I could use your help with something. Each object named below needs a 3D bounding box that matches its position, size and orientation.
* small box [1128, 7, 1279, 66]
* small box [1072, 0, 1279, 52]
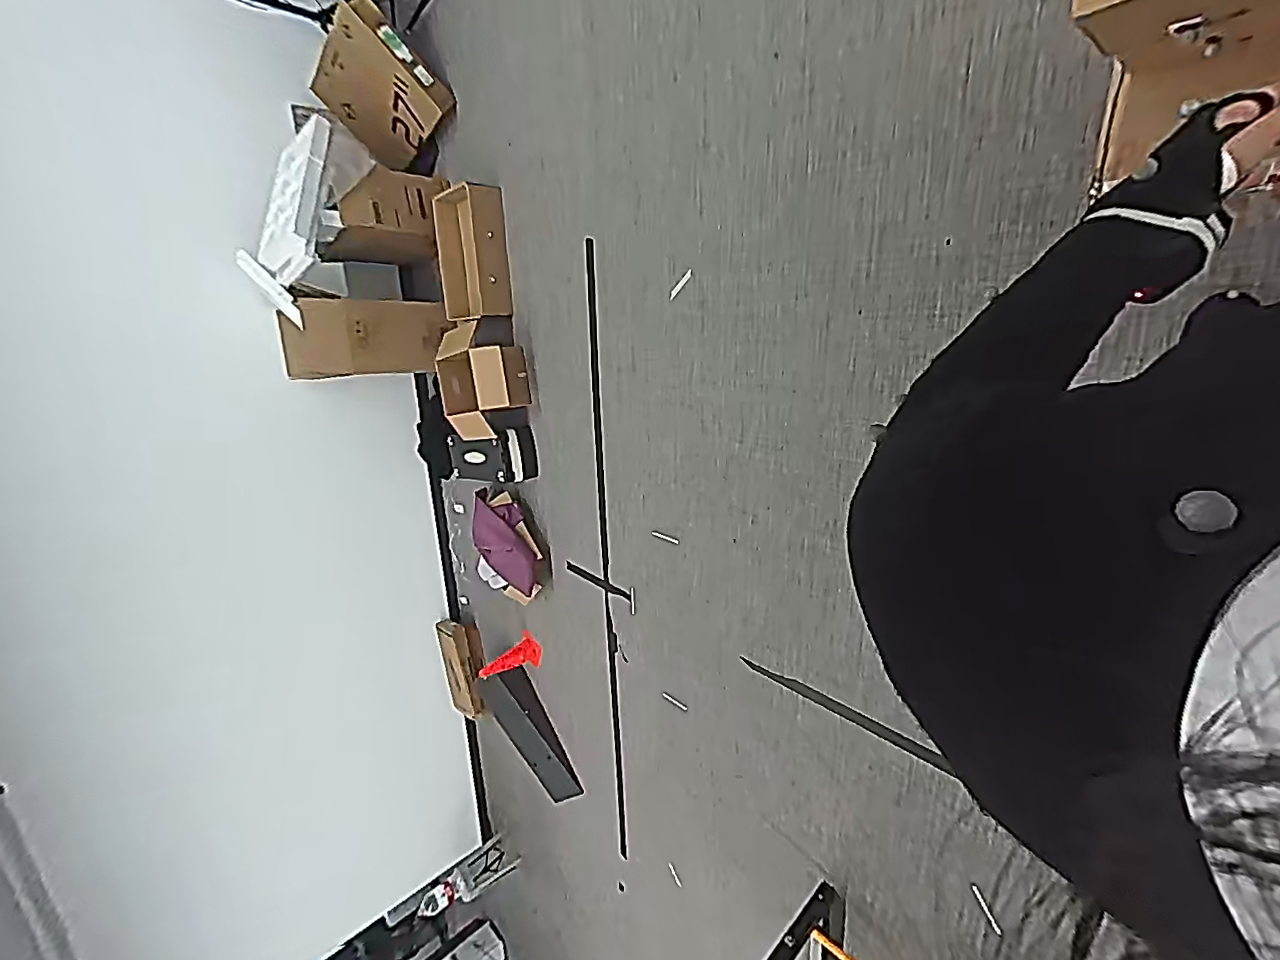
[{"bbox_3d":[0.624,-0.579,0.565,0.168,0.176,0.179,16,116,47],"label":"small box"},{"bbox_3d":[0.508,-0.518,0.466,0.168,0.176,0.179,15,117,48],"label":"small box"}]
